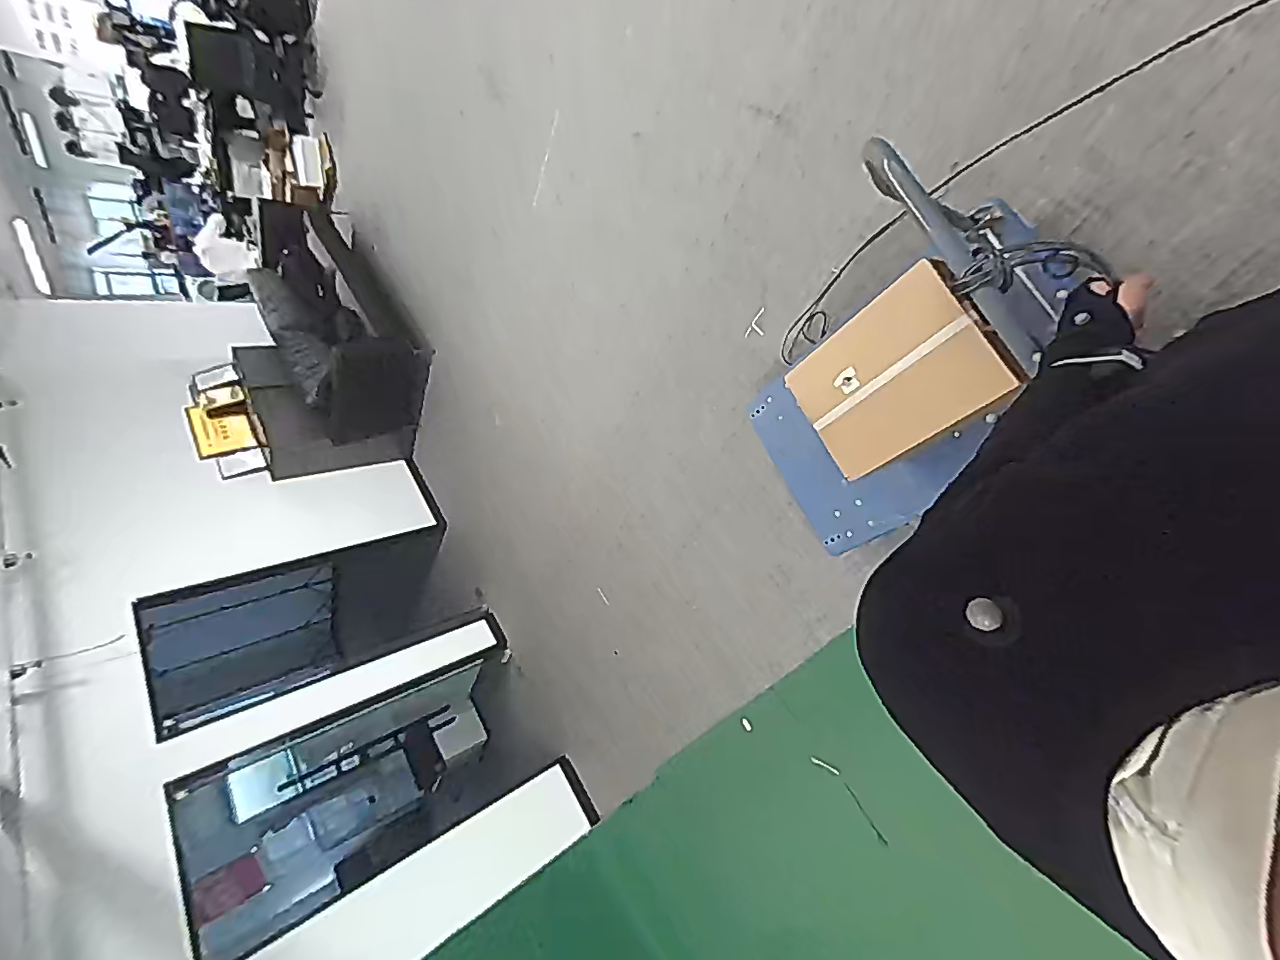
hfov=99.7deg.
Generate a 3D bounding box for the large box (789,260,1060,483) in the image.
[{"bbox_3d":[0.644,-0.245,1.260,0.408,0.320,0.320,-43,68,47],"label":"large box"}]
